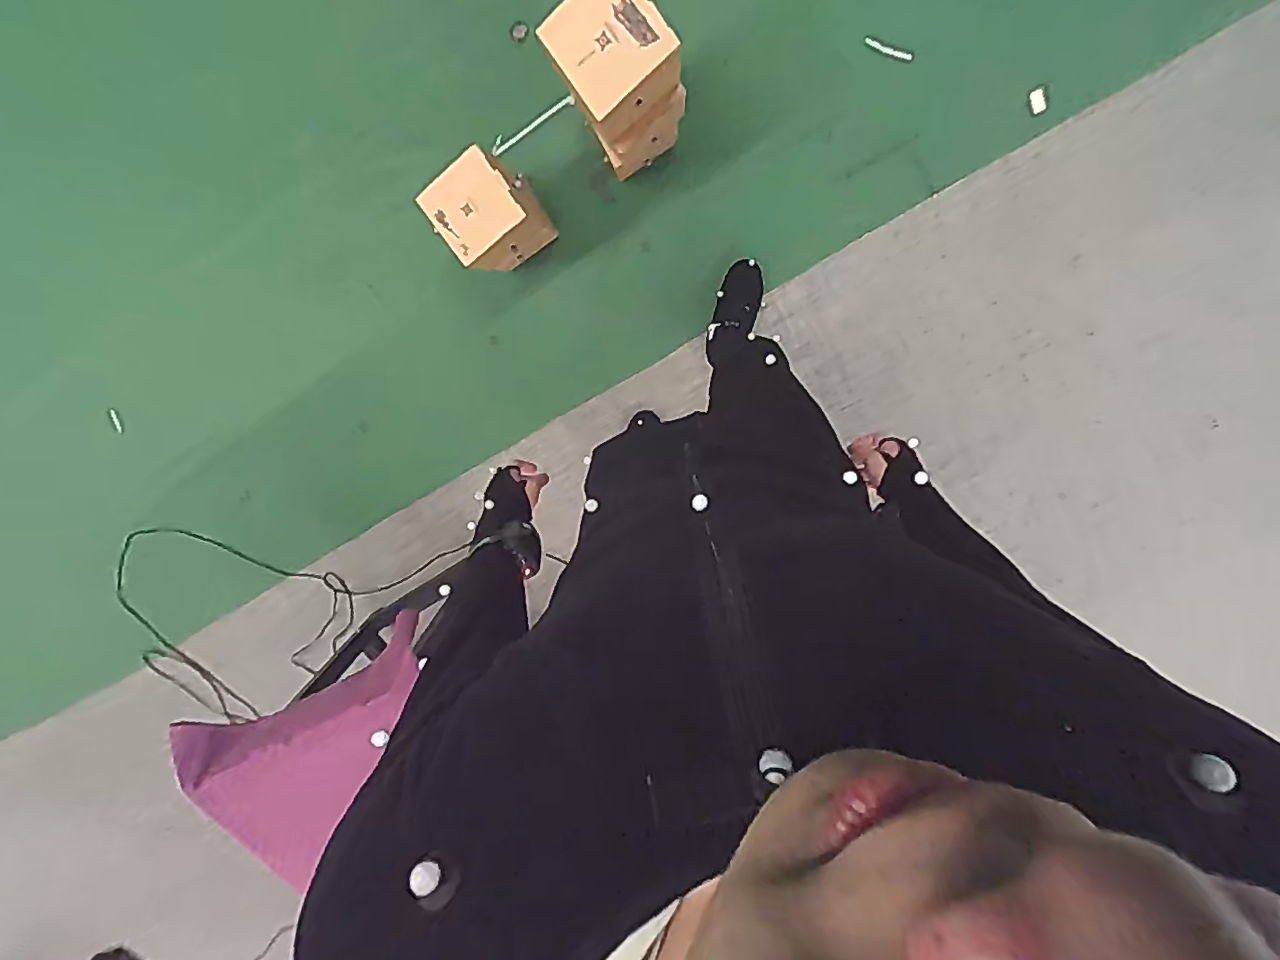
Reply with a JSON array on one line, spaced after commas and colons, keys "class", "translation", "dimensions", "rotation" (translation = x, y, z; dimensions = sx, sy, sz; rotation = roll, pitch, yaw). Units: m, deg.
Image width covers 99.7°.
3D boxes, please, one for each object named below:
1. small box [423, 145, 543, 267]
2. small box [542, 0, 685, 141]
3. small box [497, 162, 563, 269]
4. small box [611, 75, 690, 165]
[{"class": "small box", "translation": [-0.333, -0.594, 1.197], "dimensions": [0.179, 0.176, 0.168], "rotation": [-32, 104, 15]}, {"class": "small box", "translation": [-0.039, -0.737, 0.941], "dimensions": [0.179, 0.176, 0.168], "rotation": [-35, 104, 16]}, {"class": "small box", "translation": [-0.315, -0.651, 1.349], "dimensions": [0.168, 0.176, 0.179], "rotation": [-29, 105, 15]}, {"class": "small box", "translation": [-0.015, -0.781, 1.100], "dimensions": [0.168, 0.176, 0.179], "rotation": [-37, 104, 17]}]
